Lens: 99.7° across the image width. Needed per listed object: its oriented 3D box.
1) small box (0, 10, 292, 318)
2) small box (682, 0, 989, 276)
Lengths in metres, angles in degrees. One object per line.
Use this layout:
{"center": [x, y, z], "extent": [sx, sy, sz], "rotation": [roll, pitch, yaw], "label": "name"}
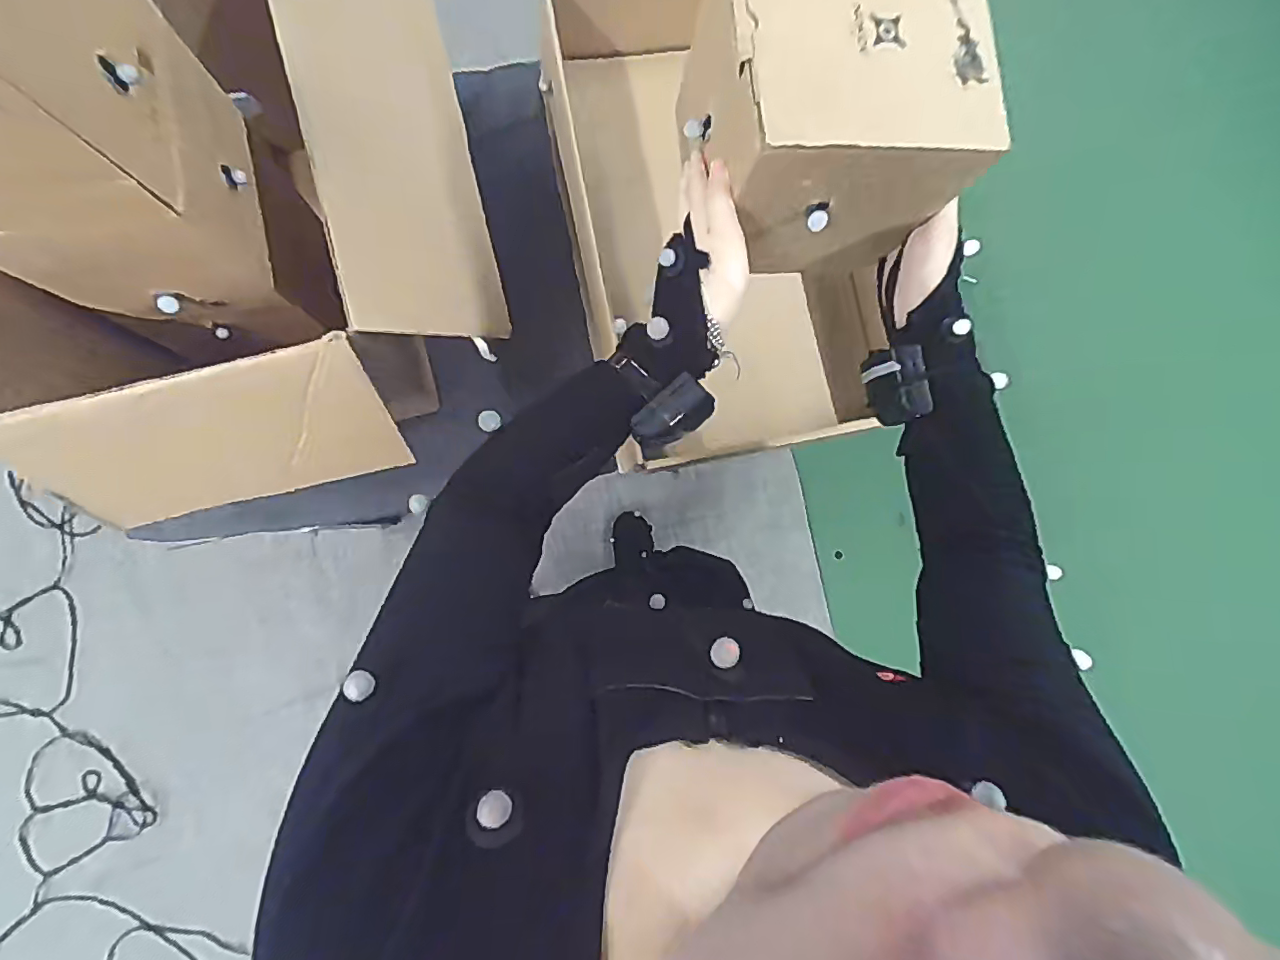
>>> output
{"center": [-0.448, -0.265, 0.485], "extent": [0.168, 0.176, 0.179], "rotation": [-9, 89, -8], "label": "small box"}
{"center": [0.136, -0.283, 0.445], "extent": [0.179, 0.176, 0.168], "rotation": [-5, 85, -9], "label": "small box"}
